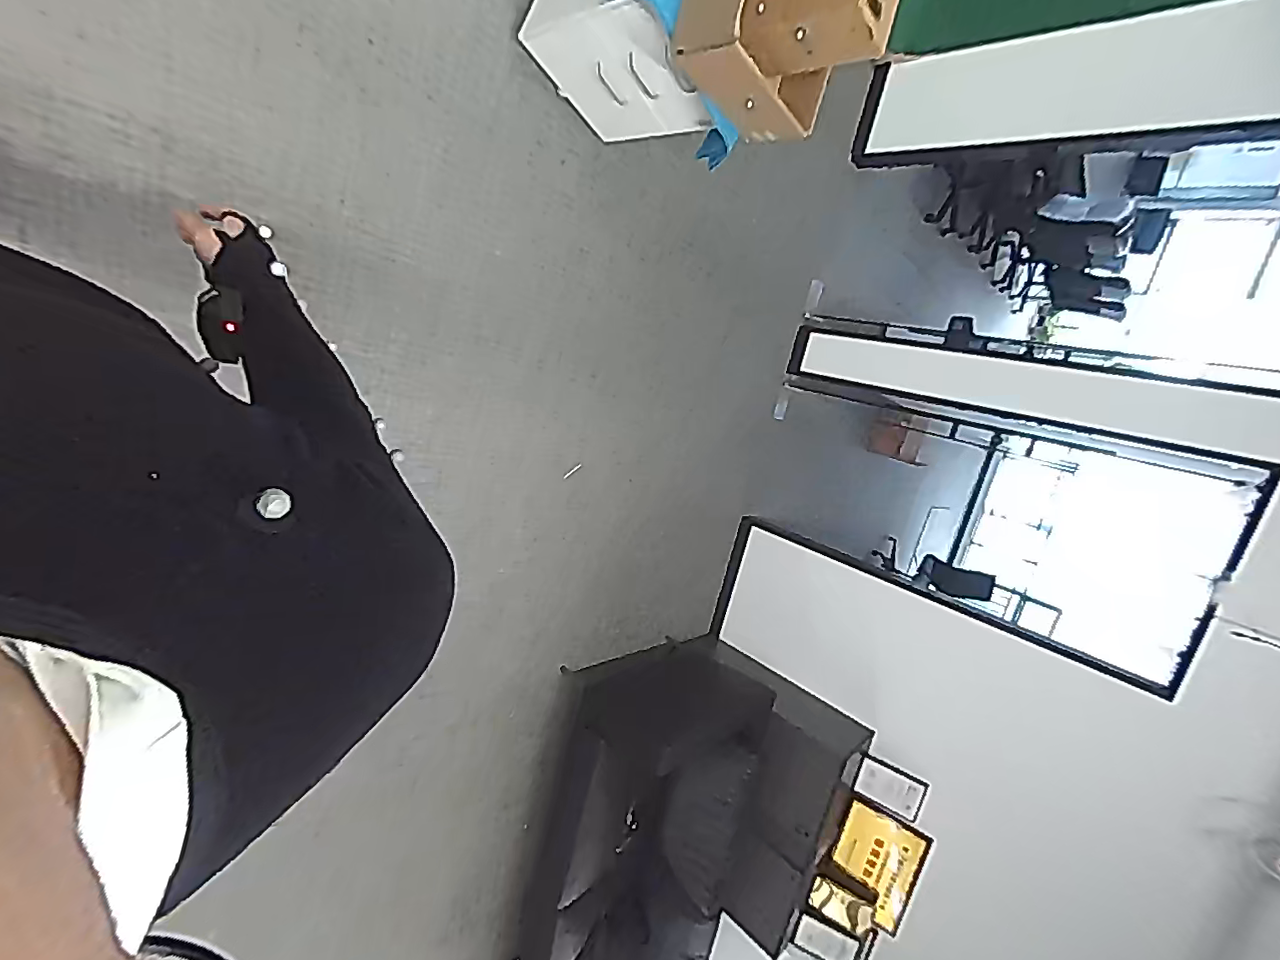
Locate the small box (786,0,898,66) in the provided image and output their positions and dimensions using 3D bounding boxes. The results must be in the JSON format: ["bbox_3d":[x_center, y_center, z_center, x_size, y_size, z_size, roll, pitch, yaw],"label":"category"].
[{"bbox_3d":[0.432,-1.027,1.148,0.168,0.176,0.179,2,105,-51],"label":"small box"}]
